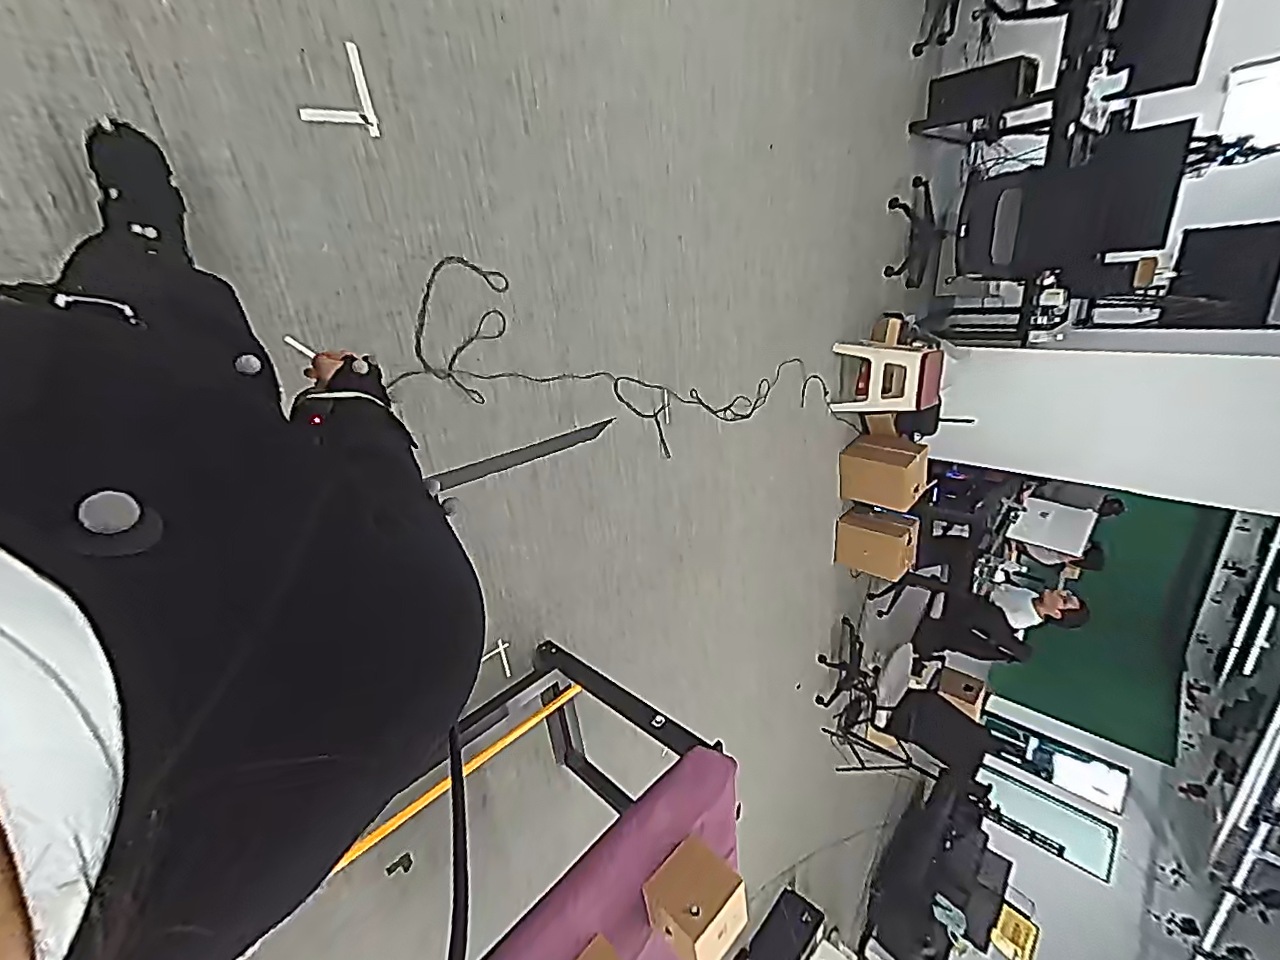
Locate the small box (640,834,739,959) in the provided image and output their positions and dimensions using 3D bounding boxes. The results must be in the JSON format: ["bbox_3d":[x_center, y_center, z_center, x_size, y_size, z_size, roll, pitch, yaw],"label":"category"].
[{"bbox_3d":[0.113,1.005,1.286,0.179,0.176,0.168,-27,120,-37],"label":"small box"}]
